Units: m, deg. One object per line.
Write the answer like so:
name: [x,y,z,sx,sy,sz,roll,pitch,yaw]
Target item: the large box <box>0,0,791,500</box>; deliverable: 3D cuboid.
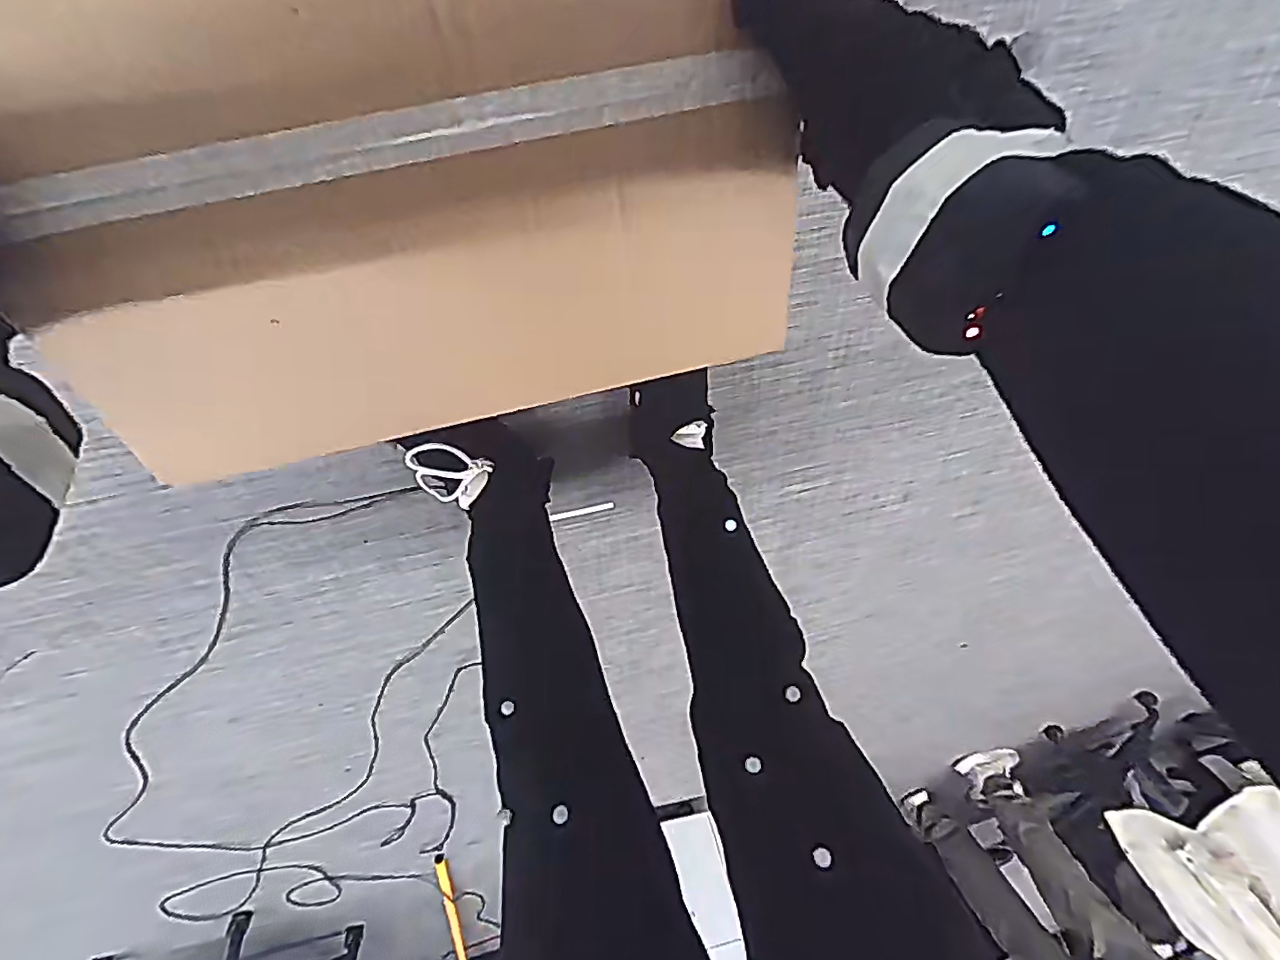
large box: [-0.150,-0.241,0.376,0.408,0.320,0.320,-14,132,-5]
